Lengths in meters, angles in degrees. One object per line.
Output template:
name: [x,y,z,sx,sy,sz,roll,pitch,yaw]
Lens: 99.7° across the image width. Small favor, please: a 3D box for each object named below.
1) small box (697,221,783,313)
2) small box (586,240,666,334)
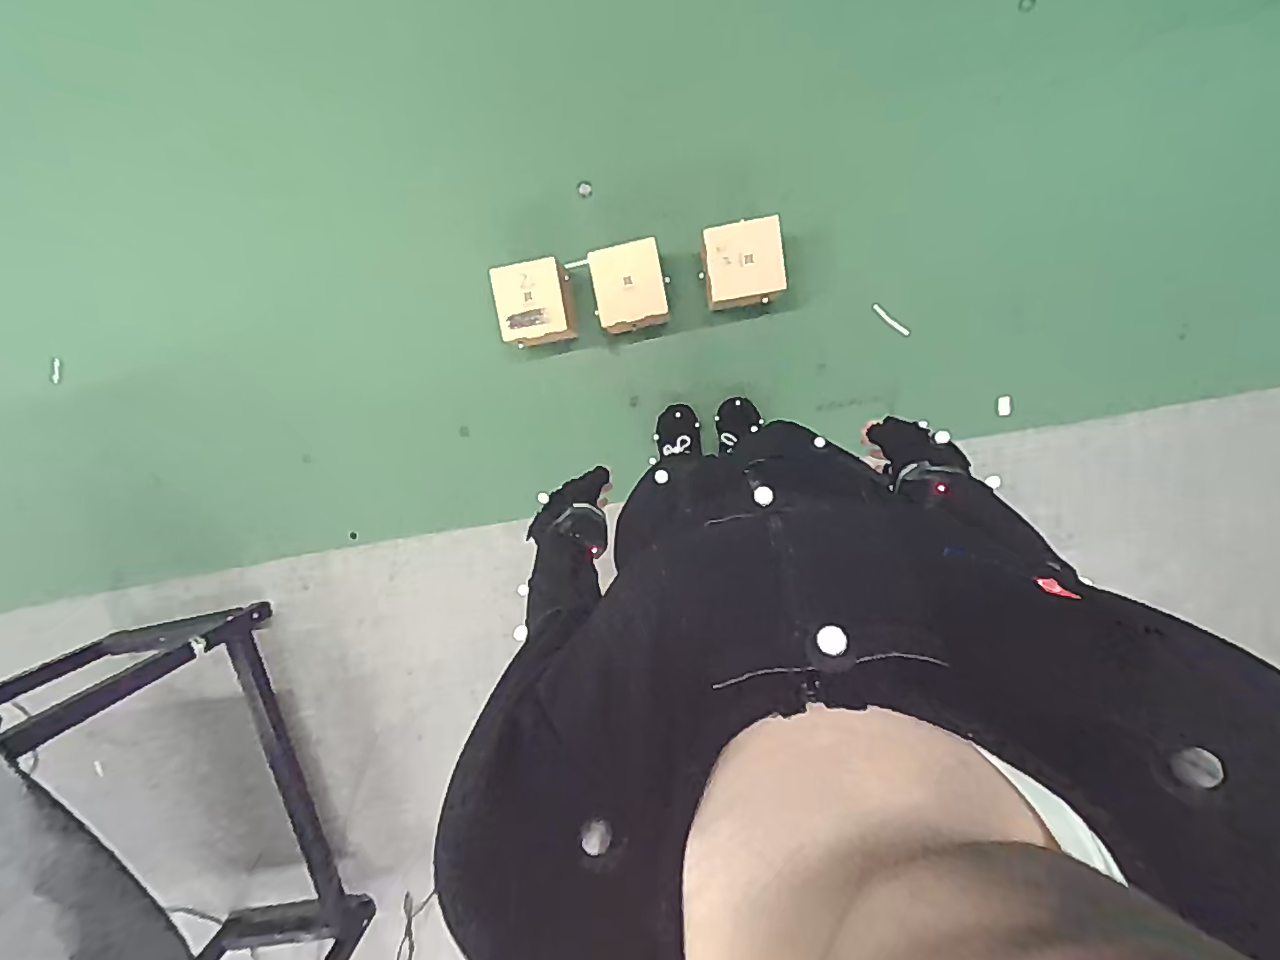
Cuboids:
small box: [0.241,-0.516,1.329,0.179,0.176,0.168,-8,99,5]
small box: [-0.030,-0.475,1.358,0.168,0.176,0.179,-11,100,6]
